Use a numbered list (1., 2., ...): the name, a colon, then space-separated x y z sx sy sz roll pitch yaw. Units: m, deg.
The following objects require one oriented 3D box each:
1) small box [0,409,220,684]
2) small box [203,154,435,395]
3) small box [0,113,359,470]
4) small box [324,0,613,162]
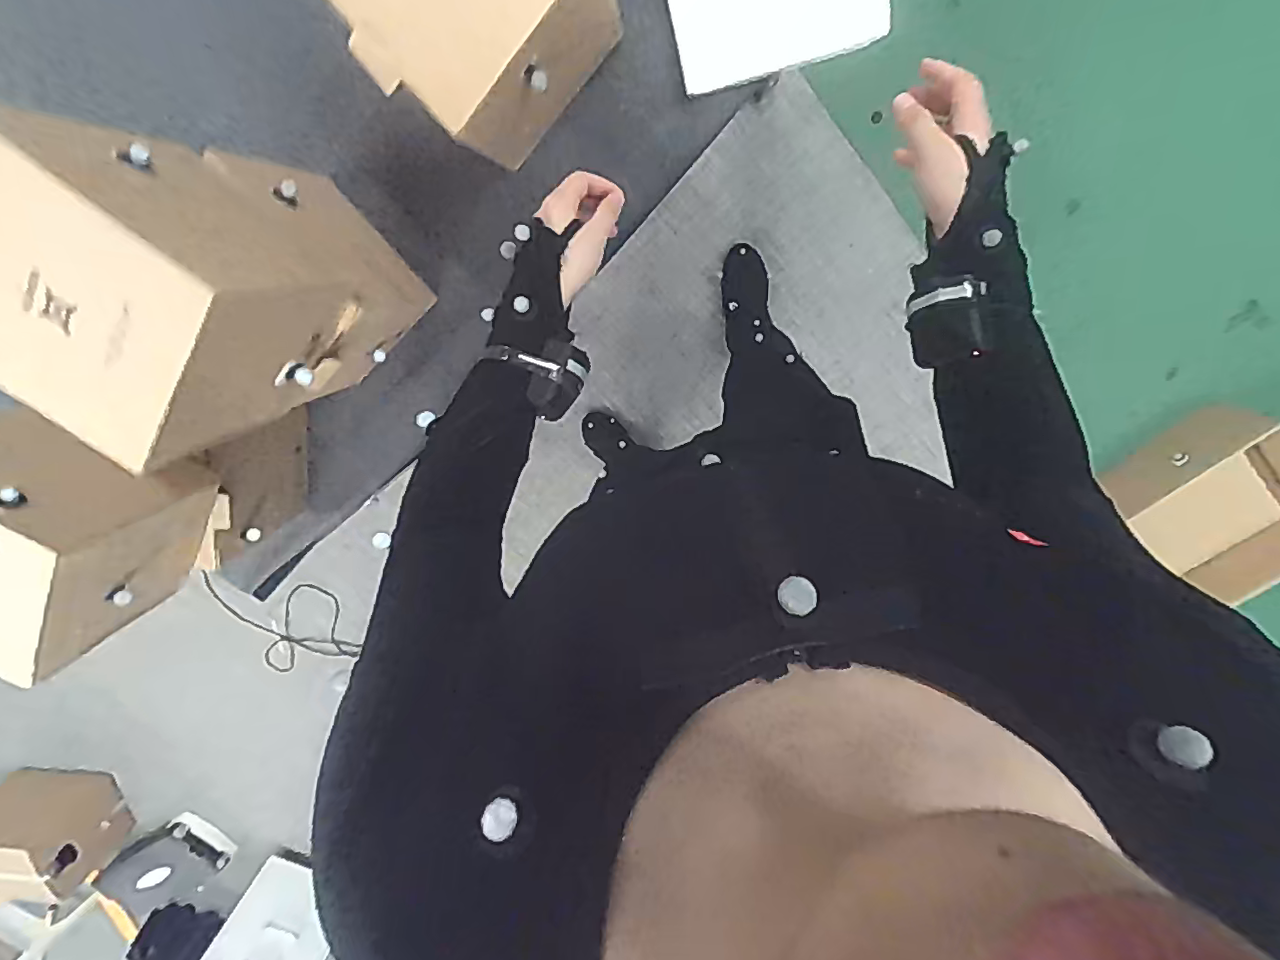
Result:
1. small box: -0.564 0.053 0.531 0.168 0.176 0.179 31 113 -8
2. small box: -0.365 -0.204 0.583 0.168 0.176 0.179 -37 105 19
3. small box: -0.374 -0.143 0.433 0.179 0.176 0.168 37 112 -11
4. small box: -0.139 -0.419 0.473 0.168 0.176 0.179 44 111 -12
